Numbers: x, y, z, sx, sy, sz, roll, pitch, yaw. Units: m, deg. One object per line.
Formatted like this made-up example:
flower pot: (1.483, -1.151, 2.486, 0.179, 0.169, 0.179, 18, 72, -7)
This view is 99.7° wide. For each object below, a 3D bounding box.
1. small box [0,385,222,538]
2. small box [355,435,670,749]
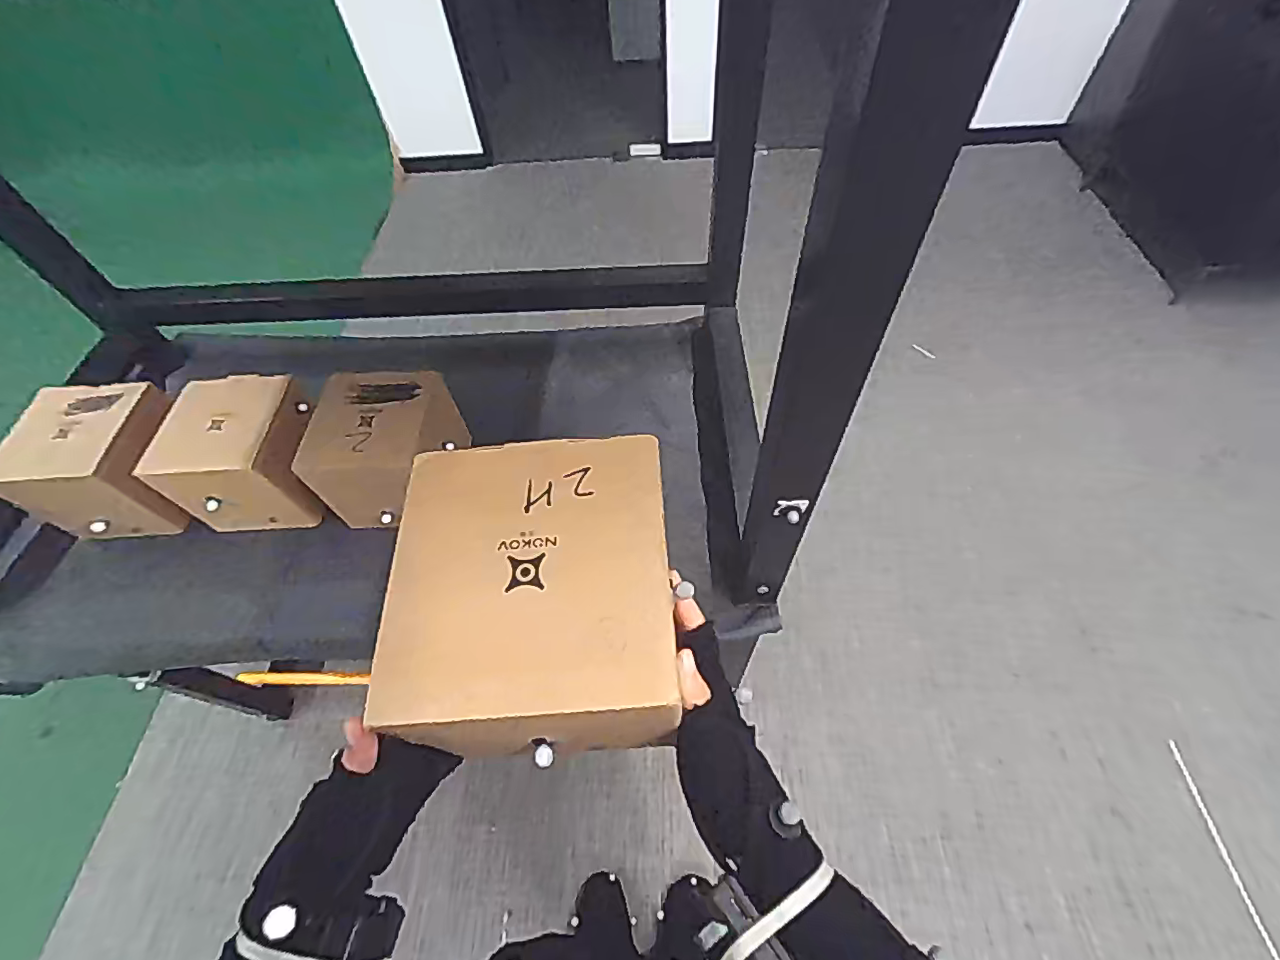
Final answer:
small box: (-0.810, -0.026, 0.847, 0.168, 0.176, 0.179, -4, 56, 1)
small box: (-0.066, 0.091, 0.389, 0.168, 0.176, 0.179, -4, 57, 1)
